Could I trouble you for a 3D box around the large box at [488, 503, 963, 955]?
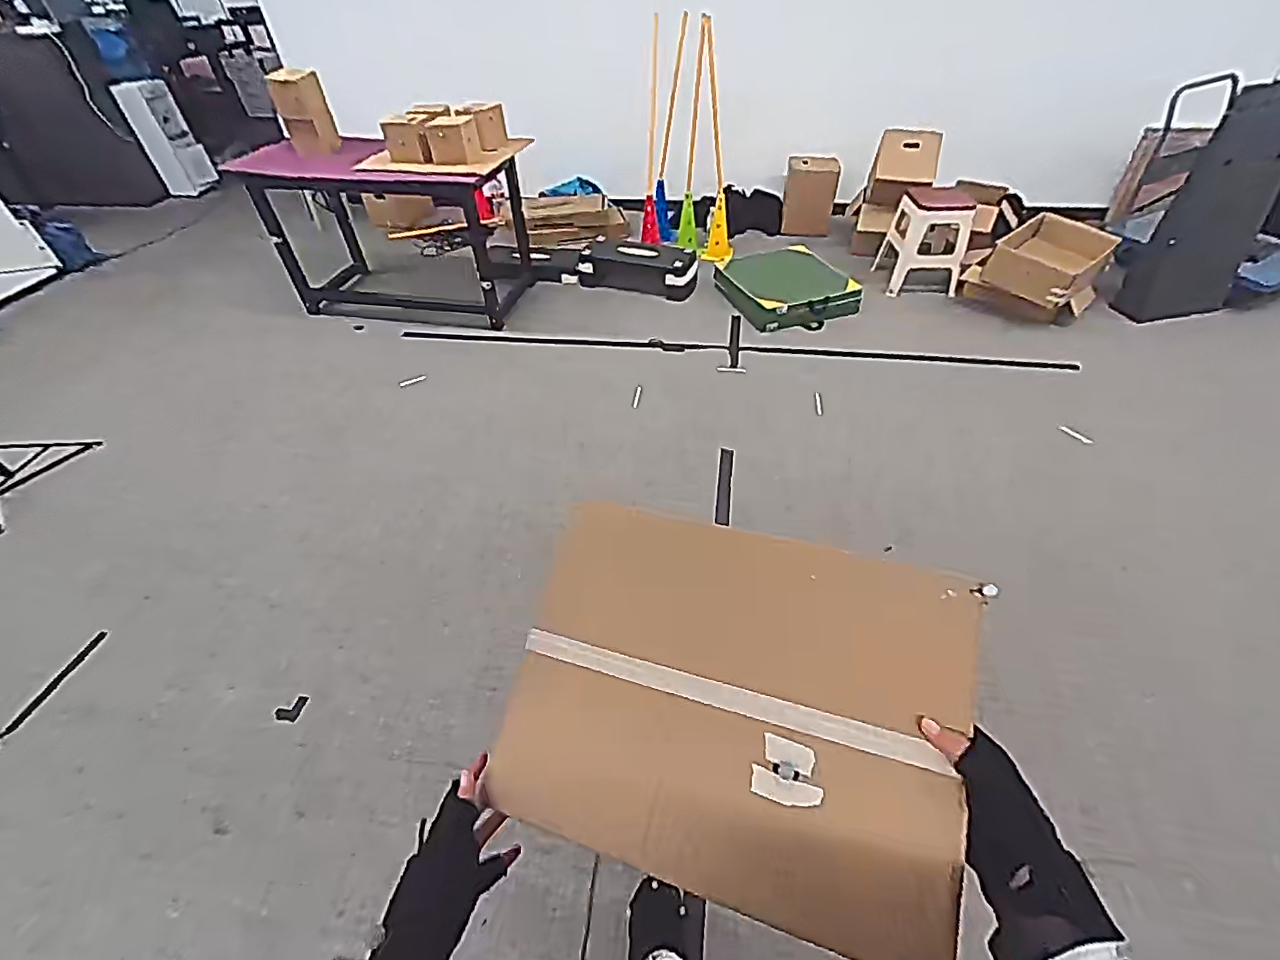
[{"bbox_3d":[0.104,0.247,0.646,0.408,0.320,0.320,10,73,16],"label":"large box"}]
